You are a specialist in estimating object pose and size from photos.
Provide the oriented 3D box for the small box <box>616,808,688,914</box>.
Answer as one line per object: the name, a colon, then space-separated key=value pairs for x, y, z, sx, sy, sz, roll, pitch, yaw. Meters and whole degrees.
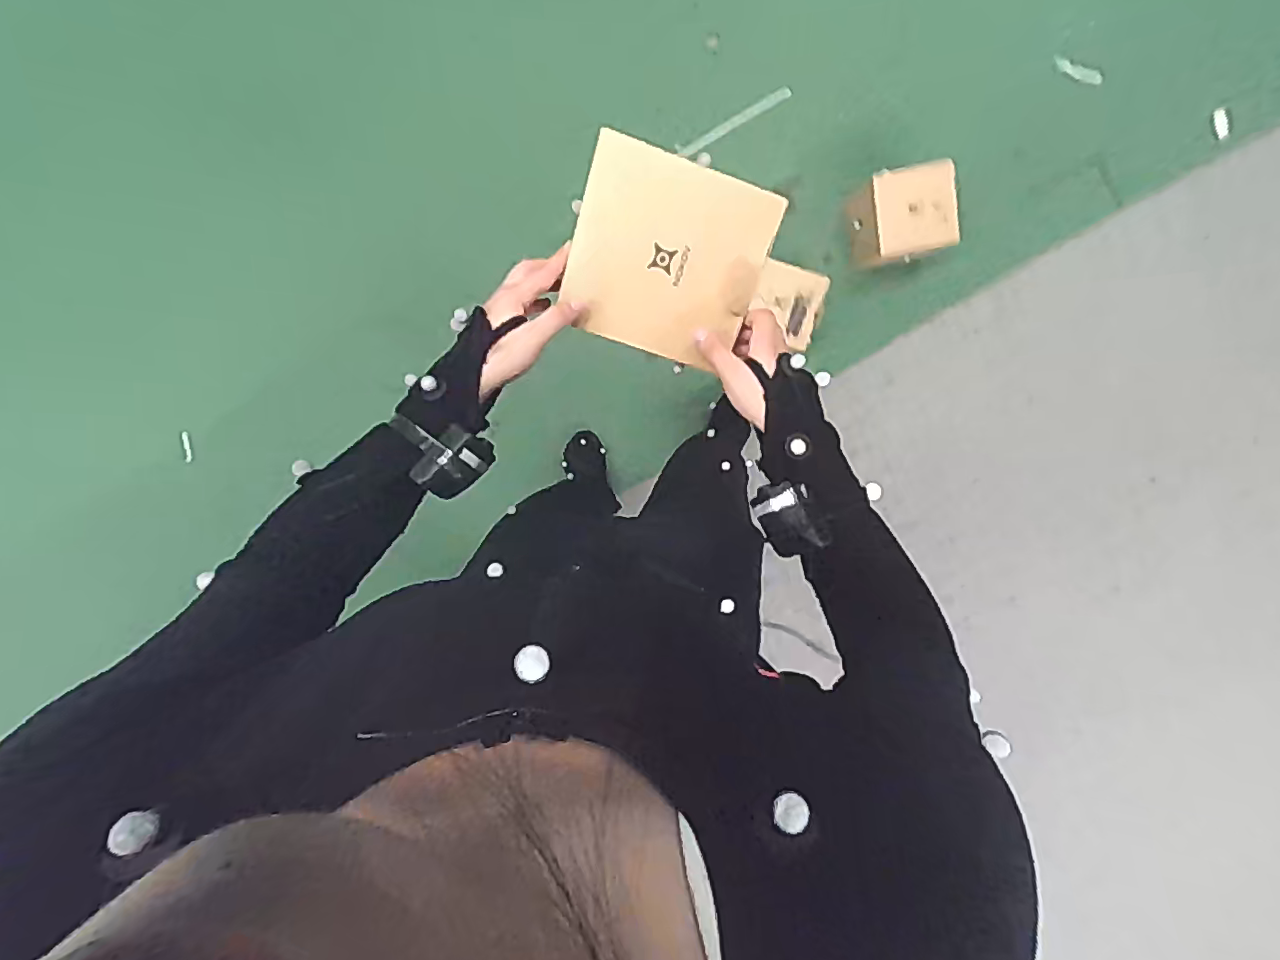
small box: x=0.036 y=1.122 z=1.599 sx=0.168 sy=0.176 sz=0.179 roll=-17 pitch=102 yaw=3

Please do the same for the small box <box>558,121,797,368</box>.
small box: x=0.026 y=-0.230 z=0.555 sx=0.179 sy=0.176 sz=0.168 roll=15 pitch=111 yaw=-9

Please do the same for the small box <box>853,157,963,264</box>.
small box: x=0.606 y=-0.609 z=1.244 sx=0.179 sy=0.176 sz=0.168 roll=-10 pitch=102 yaw=1
